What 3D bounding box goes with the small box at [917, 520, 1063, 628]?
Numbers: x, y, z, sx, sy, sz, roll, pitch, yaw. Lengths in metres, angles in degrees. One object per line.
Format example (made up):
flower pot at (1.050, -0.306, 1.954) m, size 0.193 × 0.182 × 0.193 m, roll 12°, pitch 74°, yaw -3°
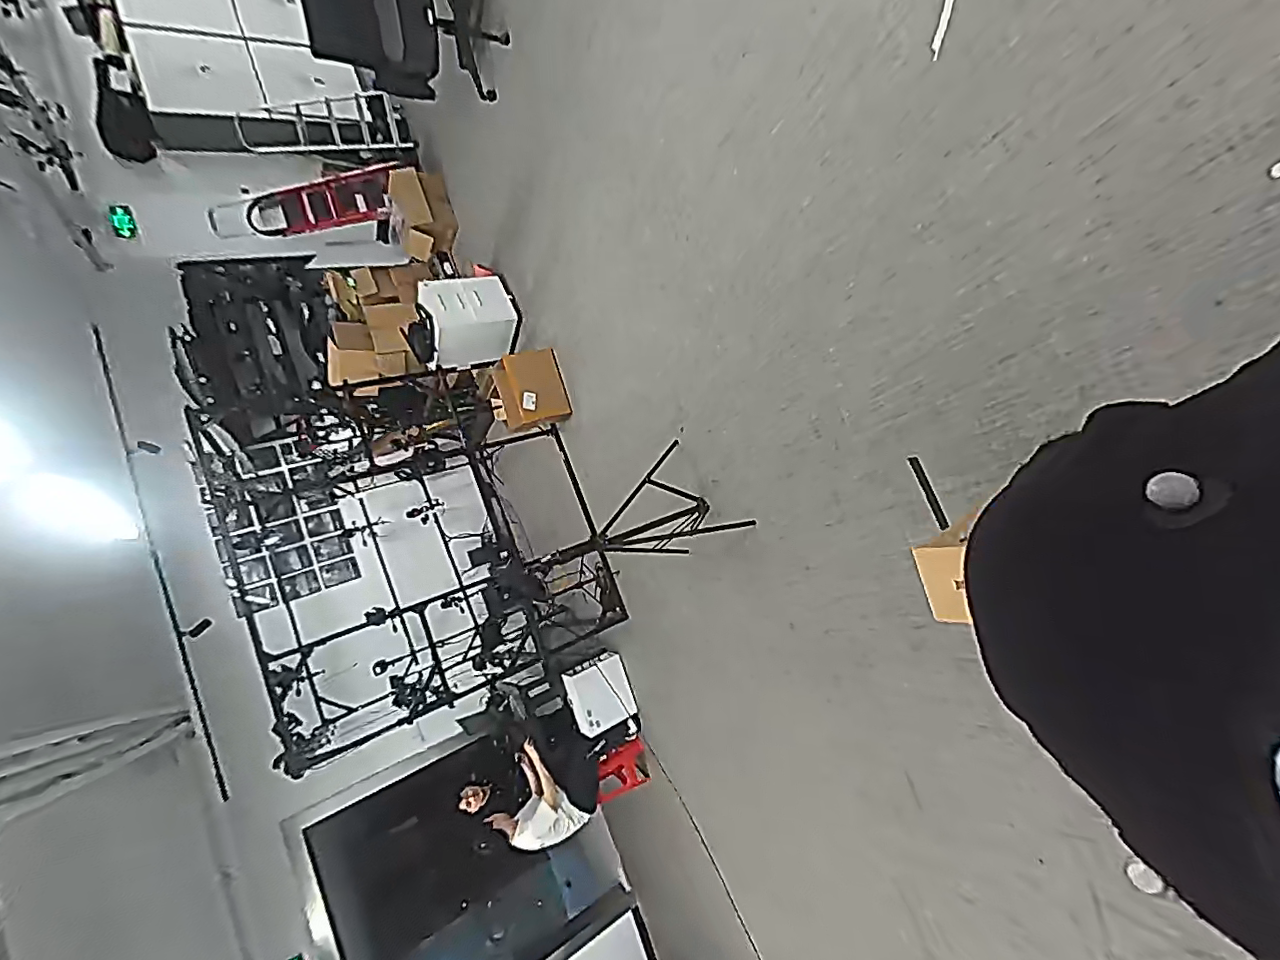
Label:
small box at (0.720, 0.189, 1.117) m, size 0.179 × 0.176 × 0.168 m, roll -19°, pitch 90°, yaw 61°
